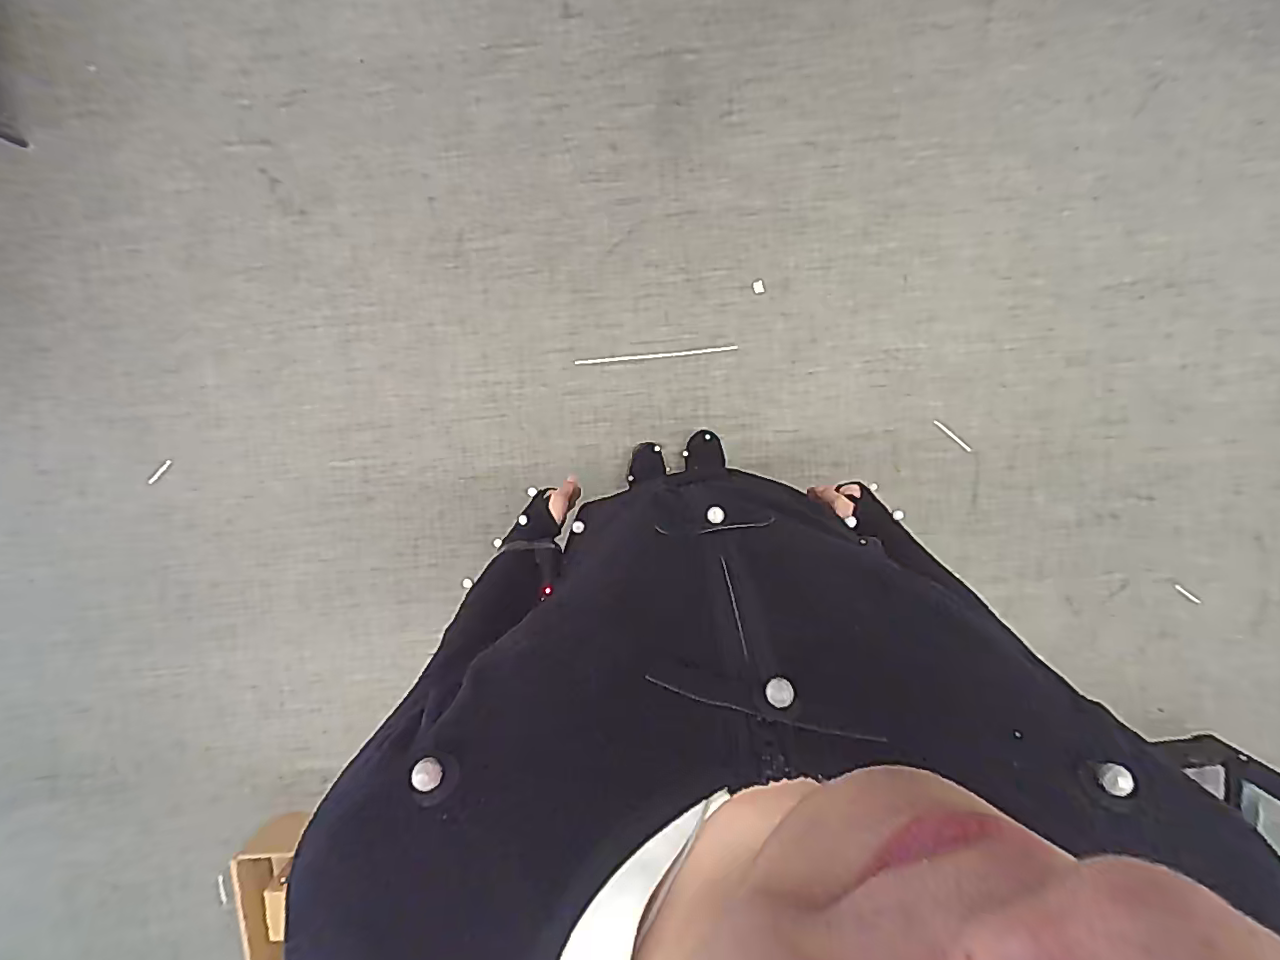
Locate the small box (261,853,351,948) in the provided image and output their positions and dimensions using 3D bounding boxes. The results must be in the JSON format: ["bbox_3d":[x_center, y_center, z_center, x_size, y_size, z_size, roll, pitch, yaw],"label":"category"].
[{"bbox_3d":[-1.010,1.279,1.654,0.179,0.176,0.168,-2,96,2],"label":"small box"}]
